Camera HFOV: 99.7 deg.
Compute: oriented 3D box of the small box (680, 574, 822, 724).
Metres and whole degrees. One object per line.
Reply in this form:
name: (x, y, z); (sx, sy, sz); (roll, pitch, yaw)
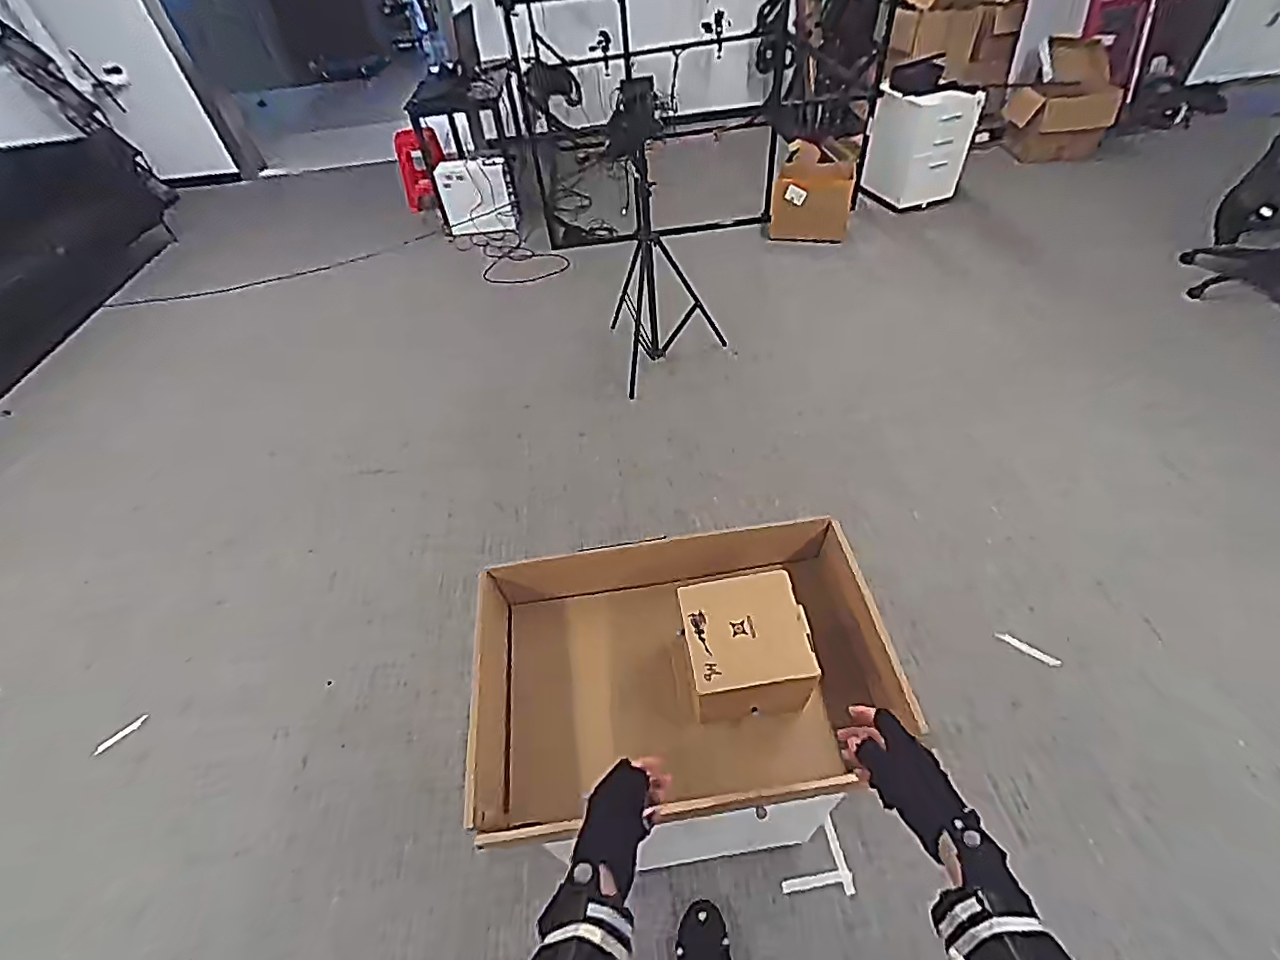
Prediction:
small box: (0.162, 0.269, 0.851); (0.179, 0.176, 0.168); (-9, 52, -1)
